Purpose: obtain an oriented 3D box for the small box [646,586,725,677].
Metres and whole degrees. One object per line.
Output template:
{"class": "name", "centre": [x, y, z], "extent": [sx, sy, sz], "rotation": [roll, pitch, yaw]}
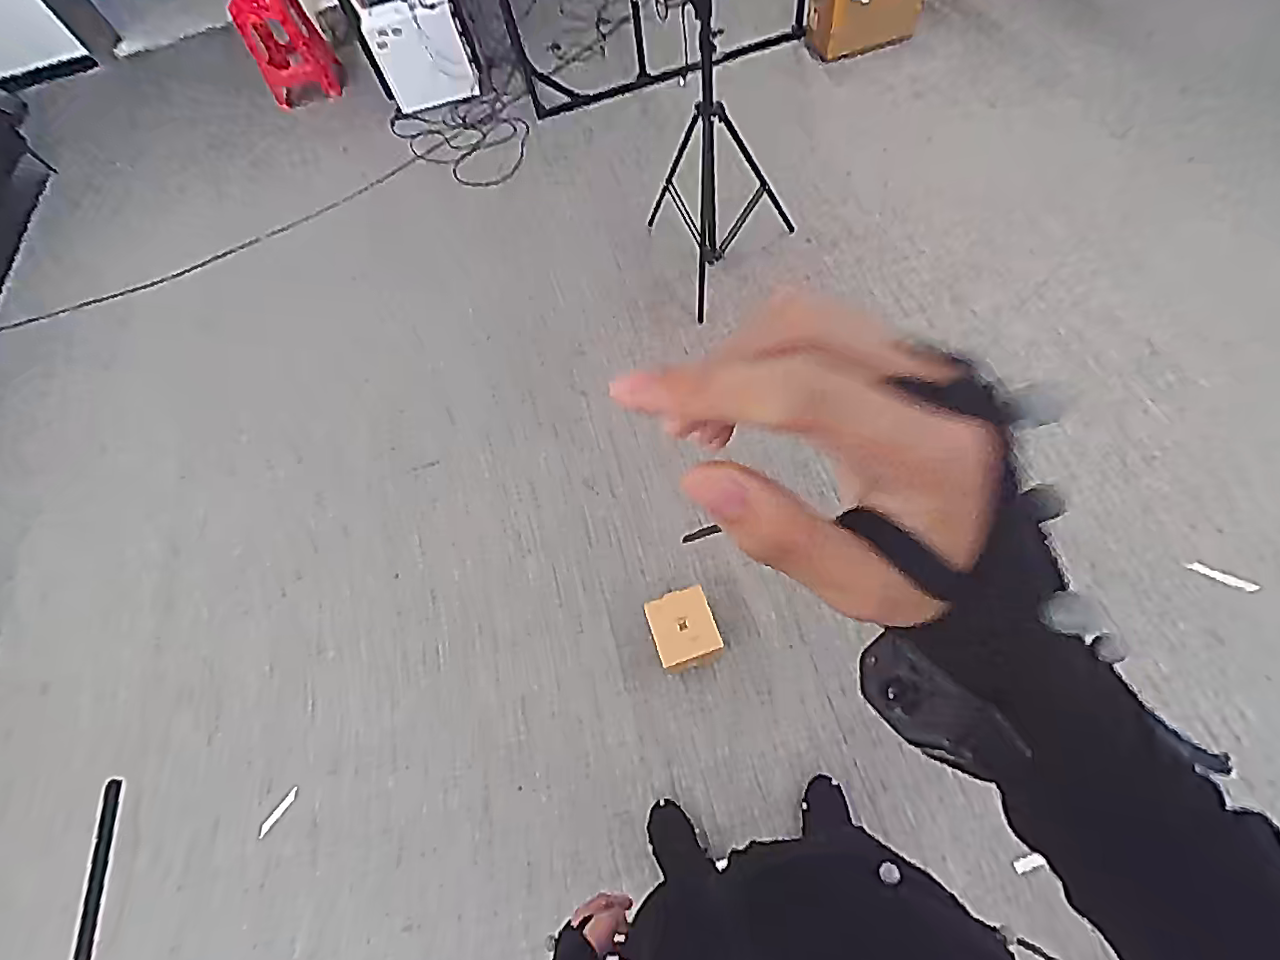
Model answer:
{"class": "small box", "centre": [0.125, 0.416, 1.470], "extent": [0.168, 0.176, 0.179], "rotation": [-20, 62, 0]}
